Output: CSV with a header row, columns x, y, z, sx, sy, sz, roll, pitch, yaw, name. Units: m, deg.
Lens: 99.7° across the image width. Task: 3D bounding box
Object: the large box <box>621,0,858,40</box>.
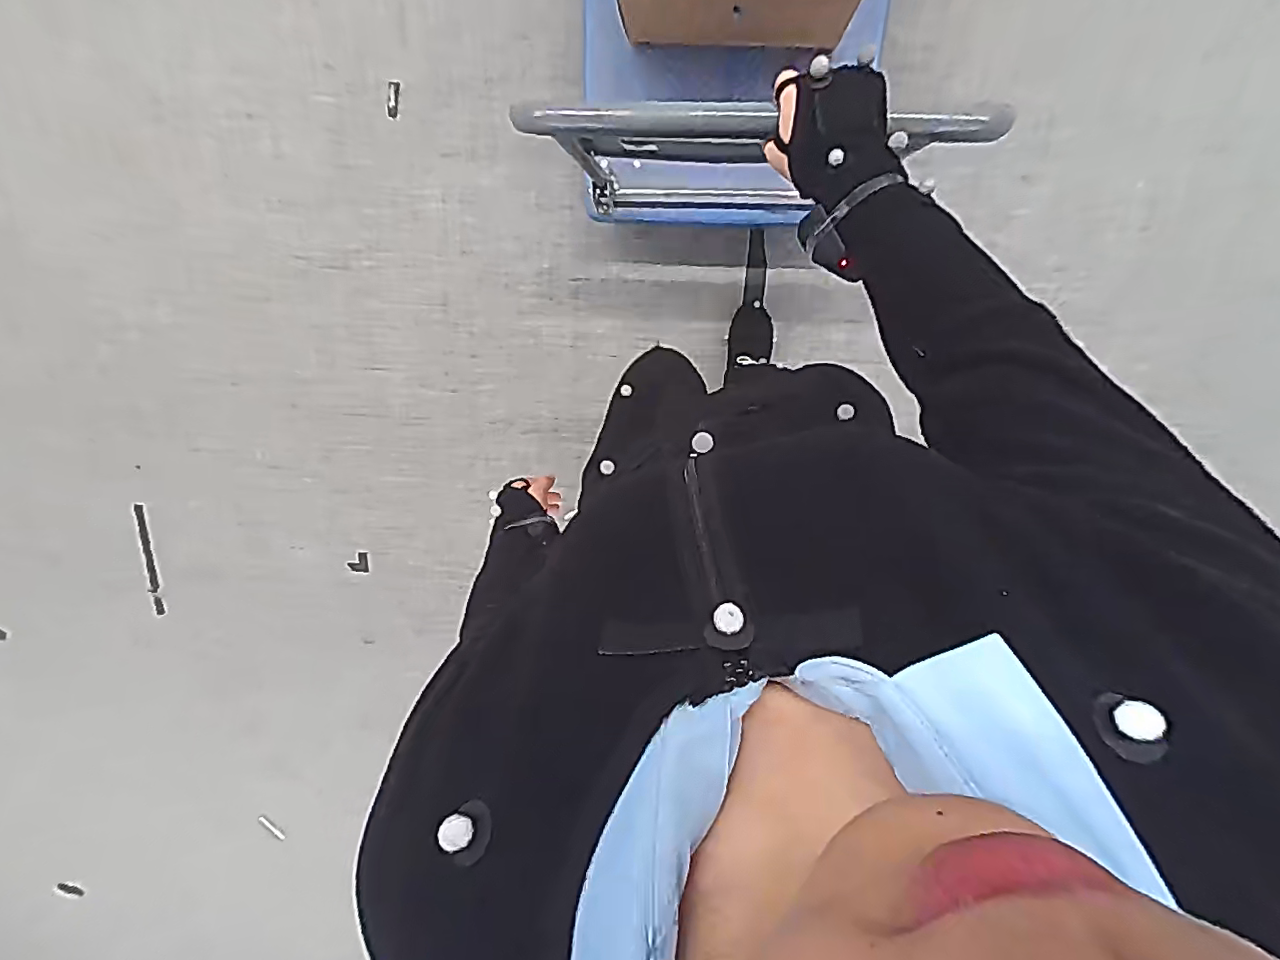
x,y,z,sx,sy,sz,roll,pitch,yaw,name
0.169,-0.945,0.849,0.408,0.320,0.320,4,107,6,large box
